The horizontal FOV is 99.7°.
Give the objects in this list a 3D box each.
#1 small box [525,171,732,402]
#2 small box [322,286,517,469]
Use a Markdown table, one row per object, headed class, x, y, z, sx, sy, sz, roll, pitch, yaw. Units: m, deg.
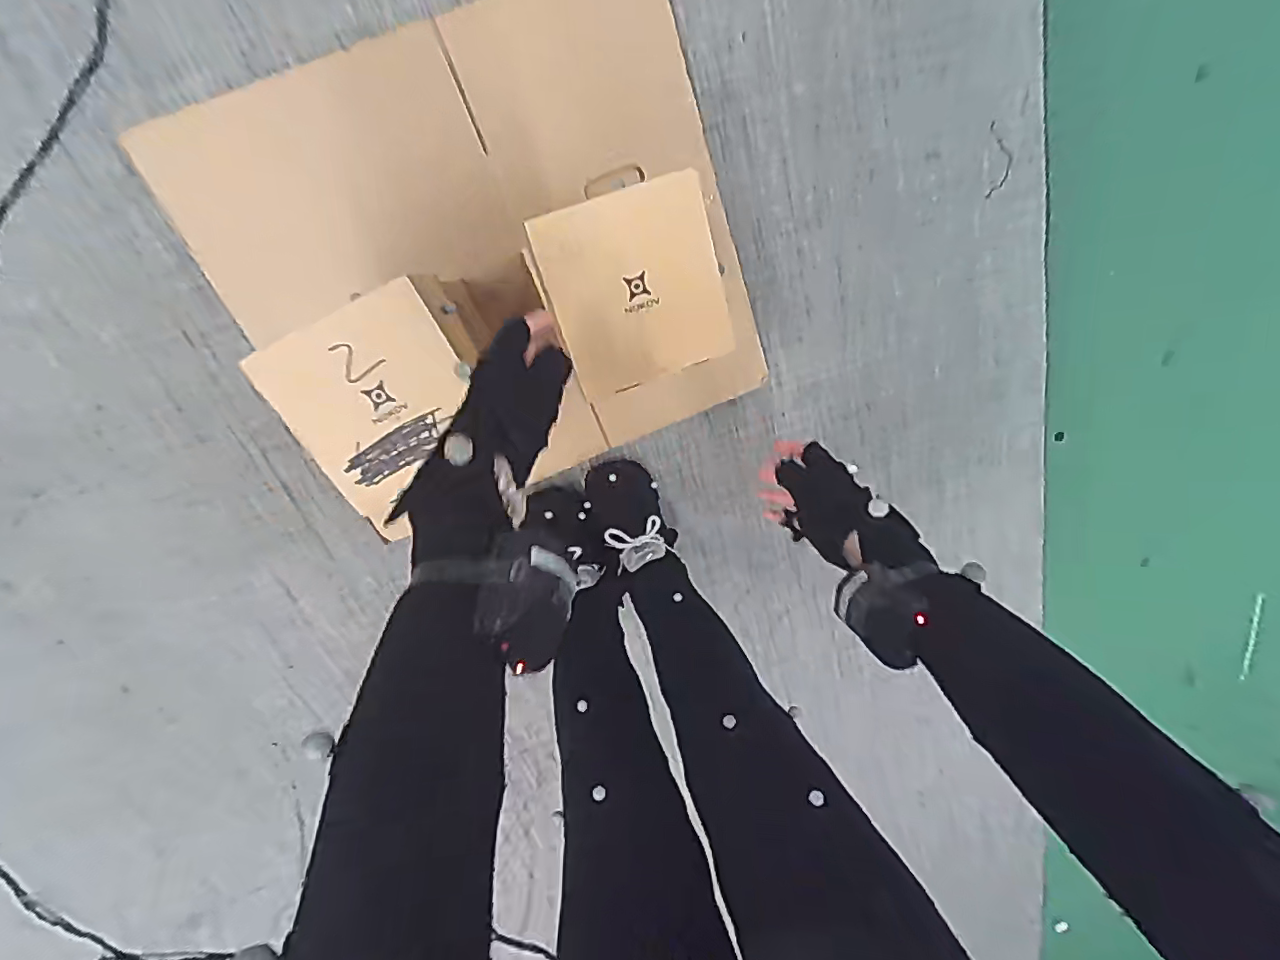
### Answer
| class | x | y | z | sx | sy | sz | roll | pitch | yaw |
| --- | --- | --- | --- | --- | --- | --- | --- | --- | --- |
| small box | -0.020 | -0.206 | 0.591 | 0.168 | 0.176 | 0.179 | -20 | 114 | -4 |
| small box | -0.277 | -0.147 | 0.731 | 0.168 | 0.176 | 0.179 | -27 | 113 | -1 |
